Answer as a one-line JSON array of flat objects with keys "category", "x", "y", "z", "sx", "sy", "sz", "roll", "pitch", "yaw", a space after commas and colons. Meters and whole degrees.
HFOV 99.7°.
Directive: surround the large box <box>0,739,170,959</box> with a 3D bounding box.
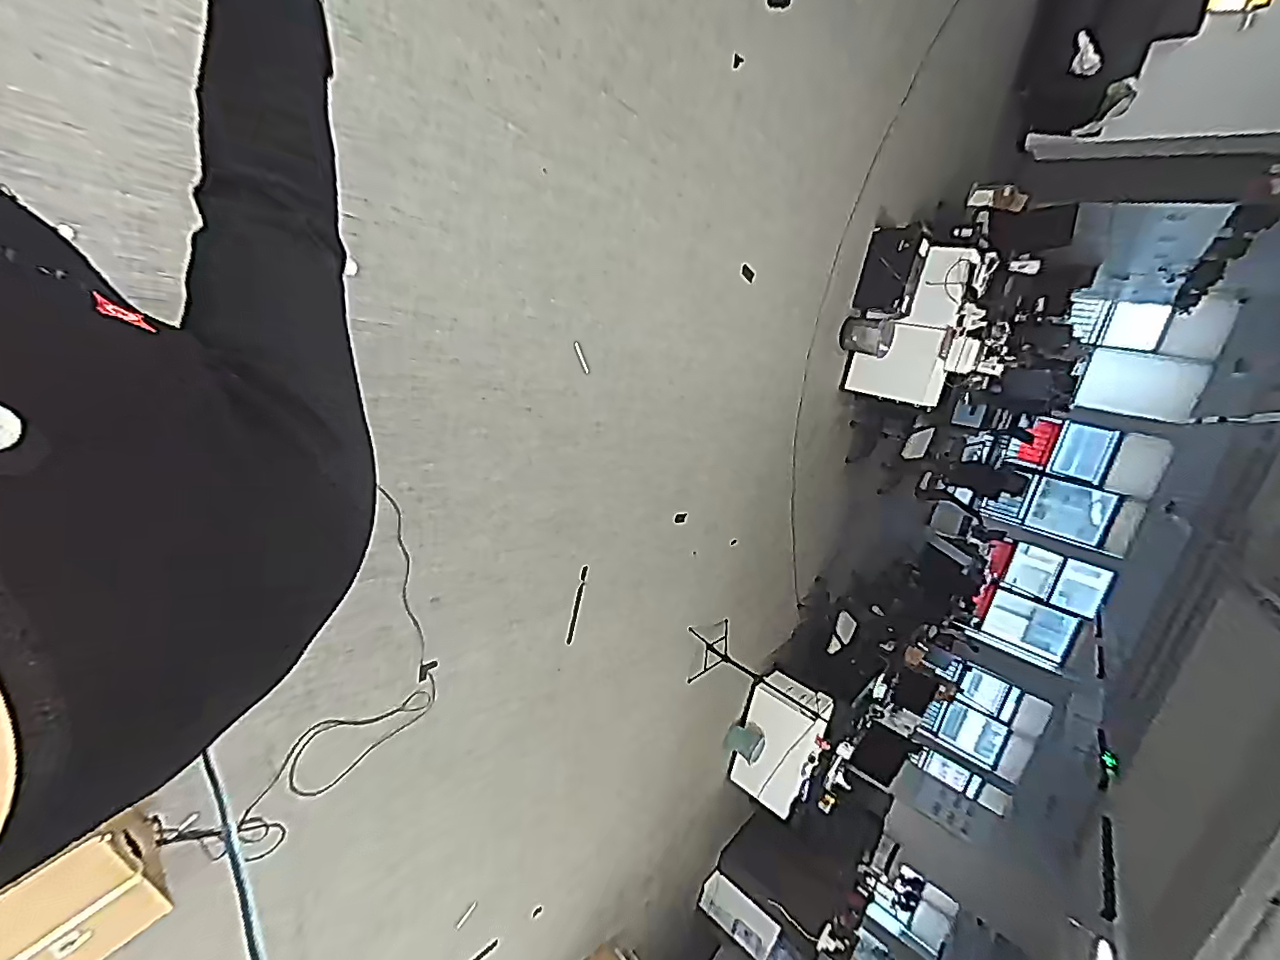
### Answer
[{"category": "large box", "x": -1.313, "y": 0.847, "z": 1.111, "sx": 0.408, "sy": 0.320, "sz": 0.320, "roll": -32, "pitch": 131, "yaw": -40}]
